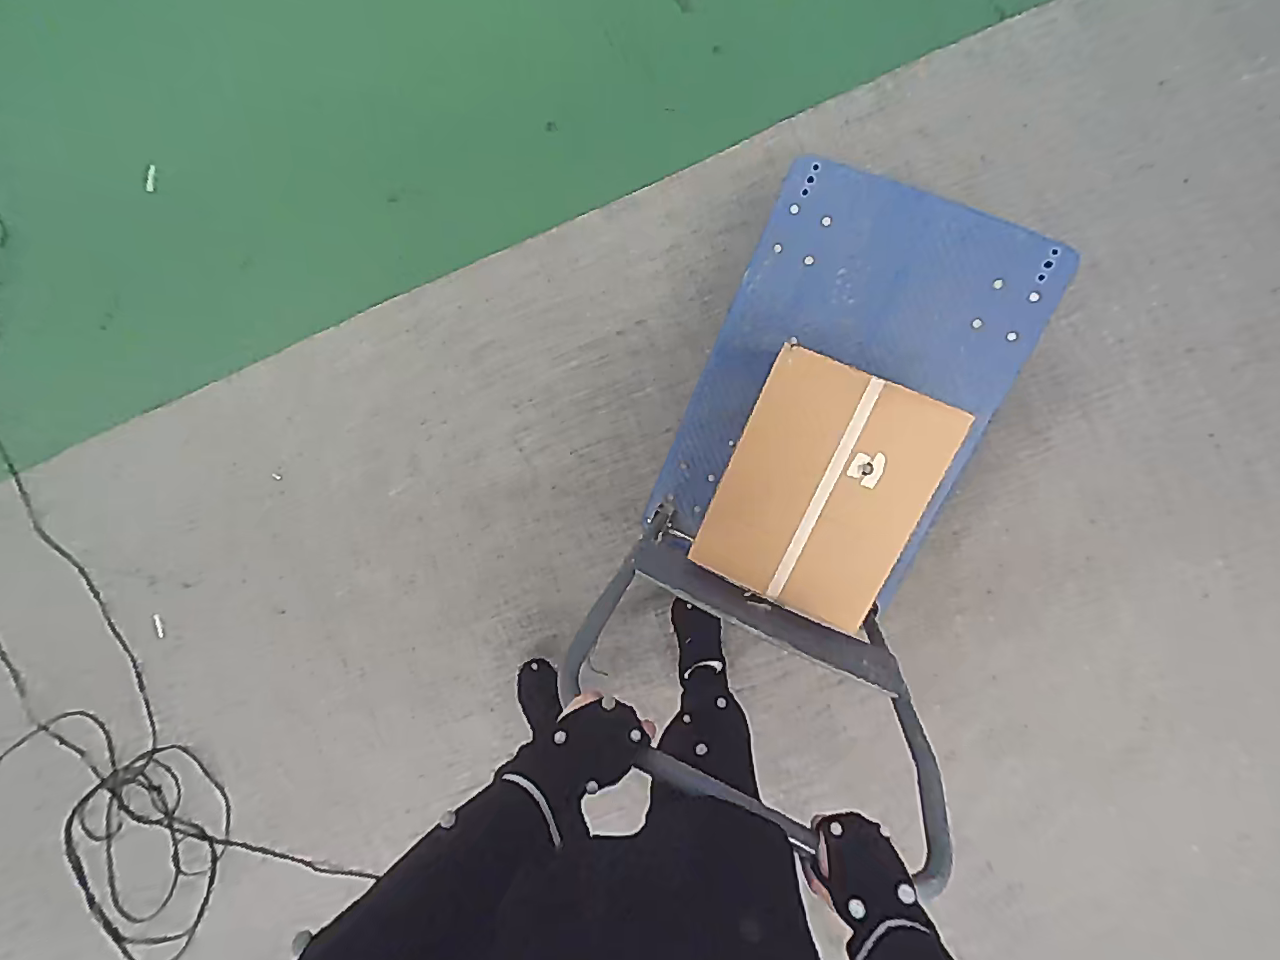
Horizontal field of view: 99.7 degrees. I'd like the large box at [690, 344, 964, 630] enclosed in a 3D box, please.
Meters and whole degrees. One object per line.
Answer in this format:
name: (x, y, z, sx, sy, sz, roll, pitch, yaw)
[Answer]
large box: (0.326, -0.001, 1.037, 0.320, 0.320, 0.408, 24, 102, 7)
